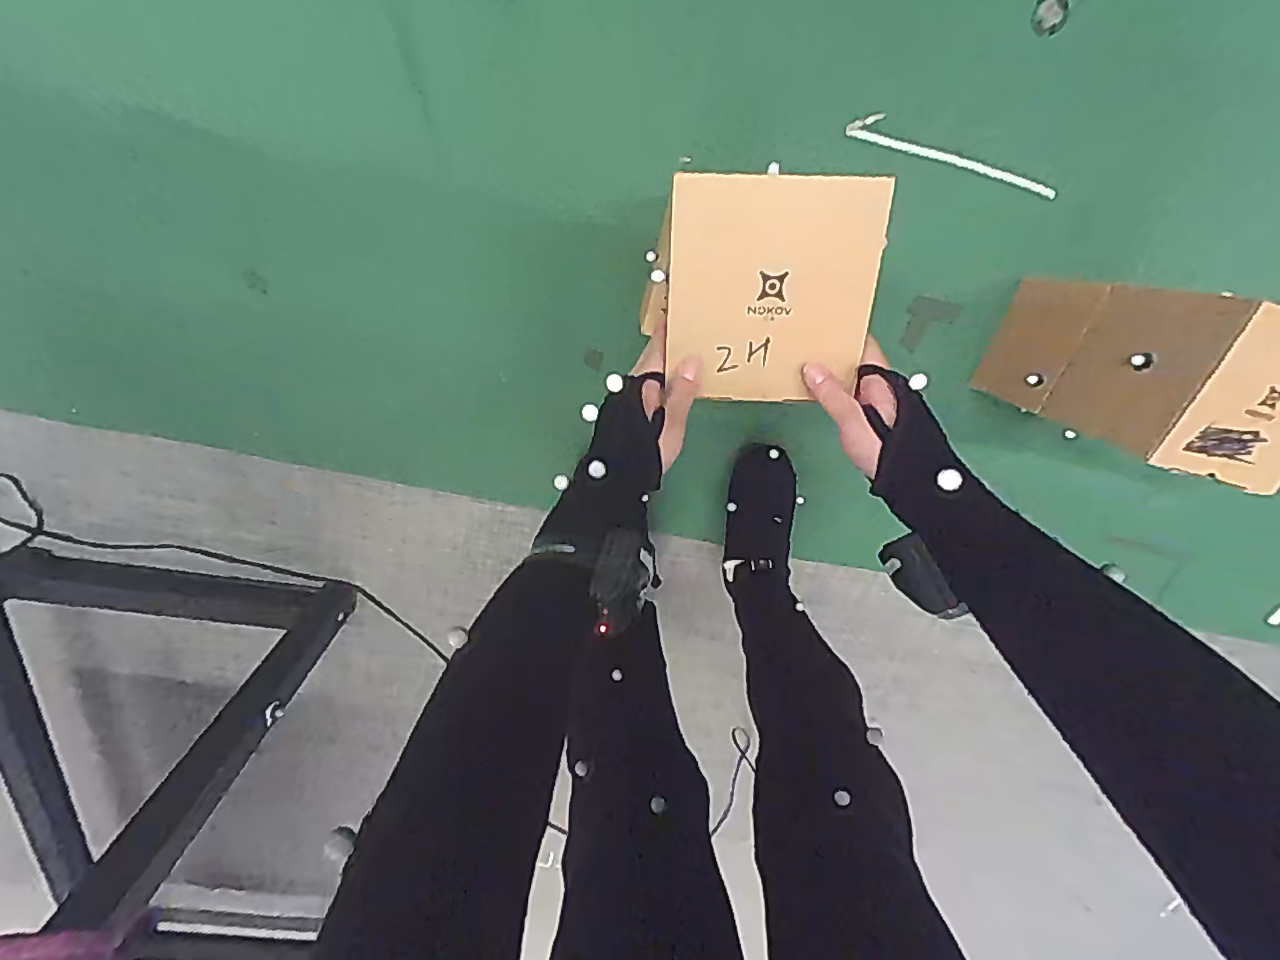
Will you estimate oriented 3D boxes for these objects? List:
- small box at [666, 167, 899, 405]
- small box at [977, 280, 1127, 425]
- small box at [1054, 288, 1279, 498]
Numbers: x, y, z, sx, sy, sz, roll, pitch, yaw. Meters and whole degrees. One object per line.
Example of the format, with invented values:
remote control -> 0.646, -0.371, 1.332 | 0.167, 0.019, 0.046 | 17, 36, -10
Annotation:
small box -> 0.110, -0.179, 0.502 | 0.168, 0.176, 0.179 | 2, 115, 2
small box -> 0.632, -0.176, 0.775 | 0.168, 0.176, 0.179 | 13, 114, -8
small box -> 0.637, -0.107, 0.625 | 0.168, 0.176, 0.179 | 13, 113, -9
